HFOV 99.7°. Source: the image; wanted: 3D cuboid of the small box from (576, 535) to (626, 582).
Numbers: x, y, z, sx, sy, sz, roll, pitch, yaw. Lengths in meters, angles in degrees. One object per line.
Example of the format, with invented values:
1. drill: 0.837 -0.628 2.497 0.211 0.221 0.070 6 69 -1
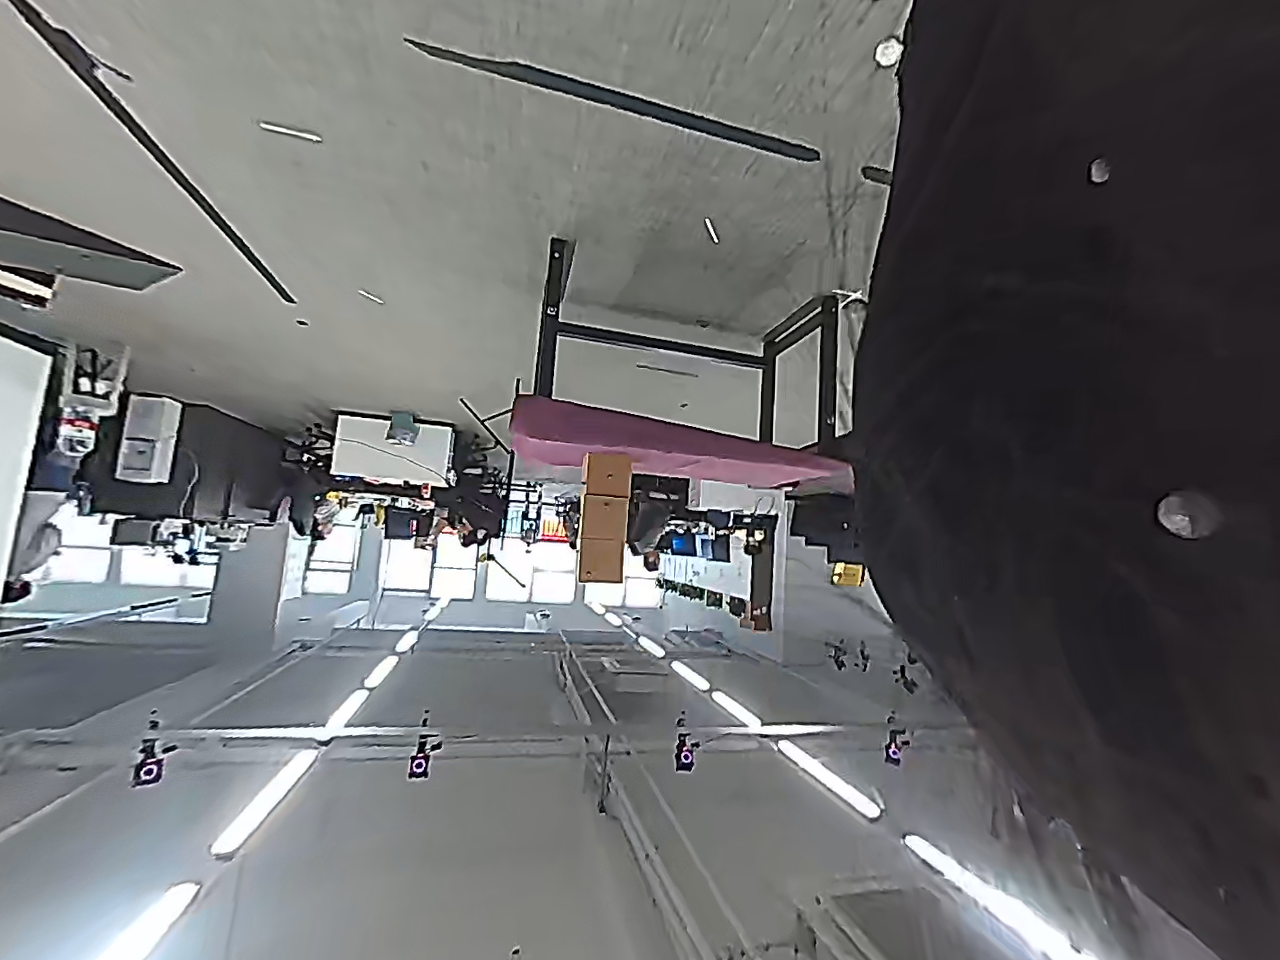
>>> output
1. small box: -0.152 0.303 2.112 0.179 0.176 0.168 5 173 -10

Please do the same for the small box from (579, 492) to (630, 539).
1. small box: -0.141 0.140 2.123 0.179 0.176 0.168 5 174 -9
